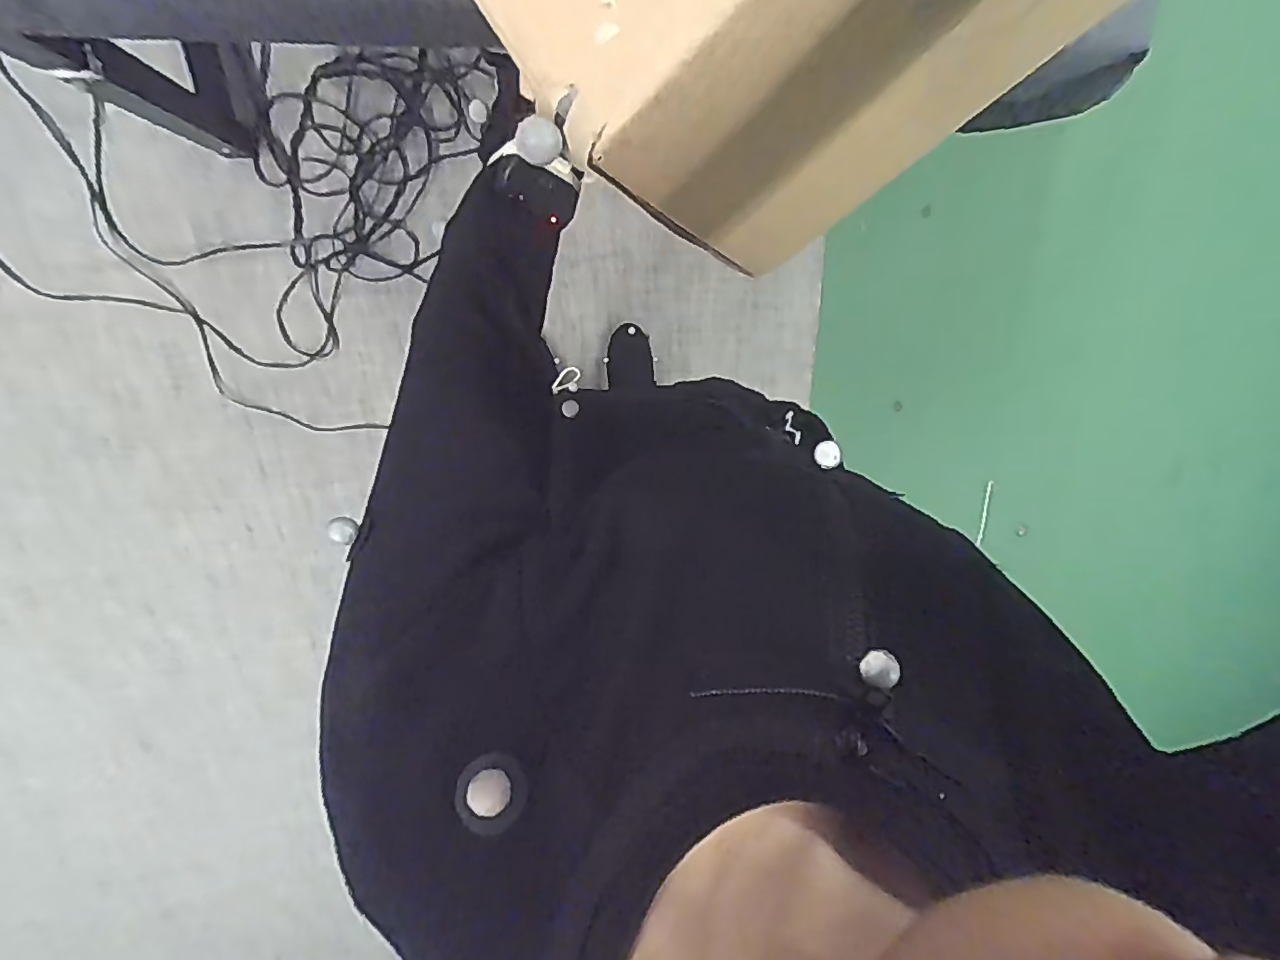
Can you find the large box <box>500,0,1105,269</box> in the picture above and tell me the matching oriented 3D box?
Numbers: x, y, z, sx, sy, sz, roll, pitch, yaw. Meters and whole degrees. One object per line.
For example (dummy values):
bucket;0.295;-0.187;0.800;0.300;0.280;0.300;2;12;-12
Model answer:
large box;0.113;-0.361;0.231;0.408;0.320;0.320;-35;87;26
